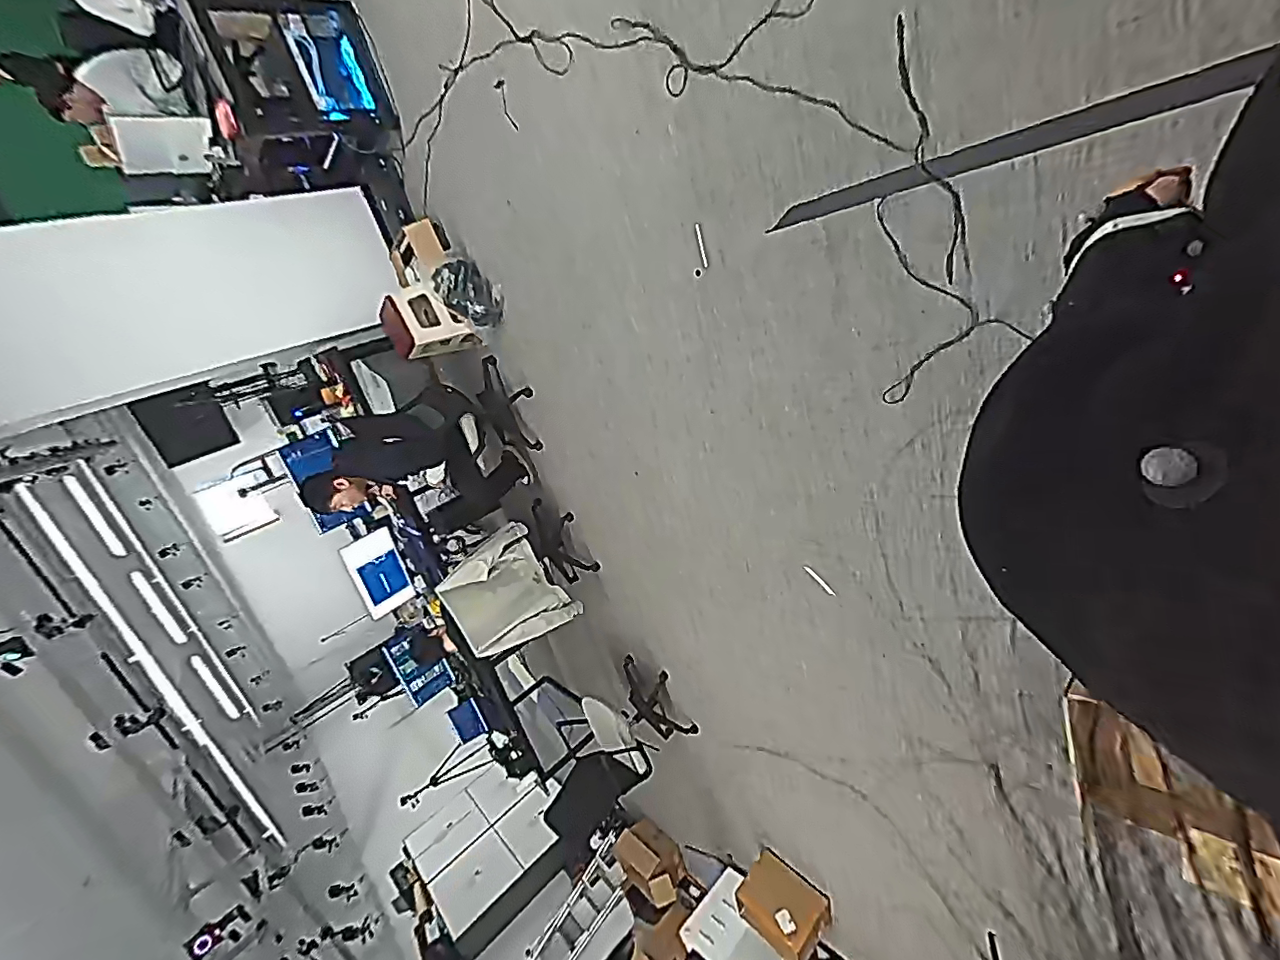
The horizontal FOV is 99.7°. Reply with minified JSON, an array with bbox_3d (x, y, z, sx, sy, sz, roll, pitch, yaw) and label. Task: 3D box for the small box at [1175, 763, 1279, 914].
[{"bbox_3d":[1.273,0.756,1.152,0.168,0.176,0.179,2,117,51],"label":"small box"}]
